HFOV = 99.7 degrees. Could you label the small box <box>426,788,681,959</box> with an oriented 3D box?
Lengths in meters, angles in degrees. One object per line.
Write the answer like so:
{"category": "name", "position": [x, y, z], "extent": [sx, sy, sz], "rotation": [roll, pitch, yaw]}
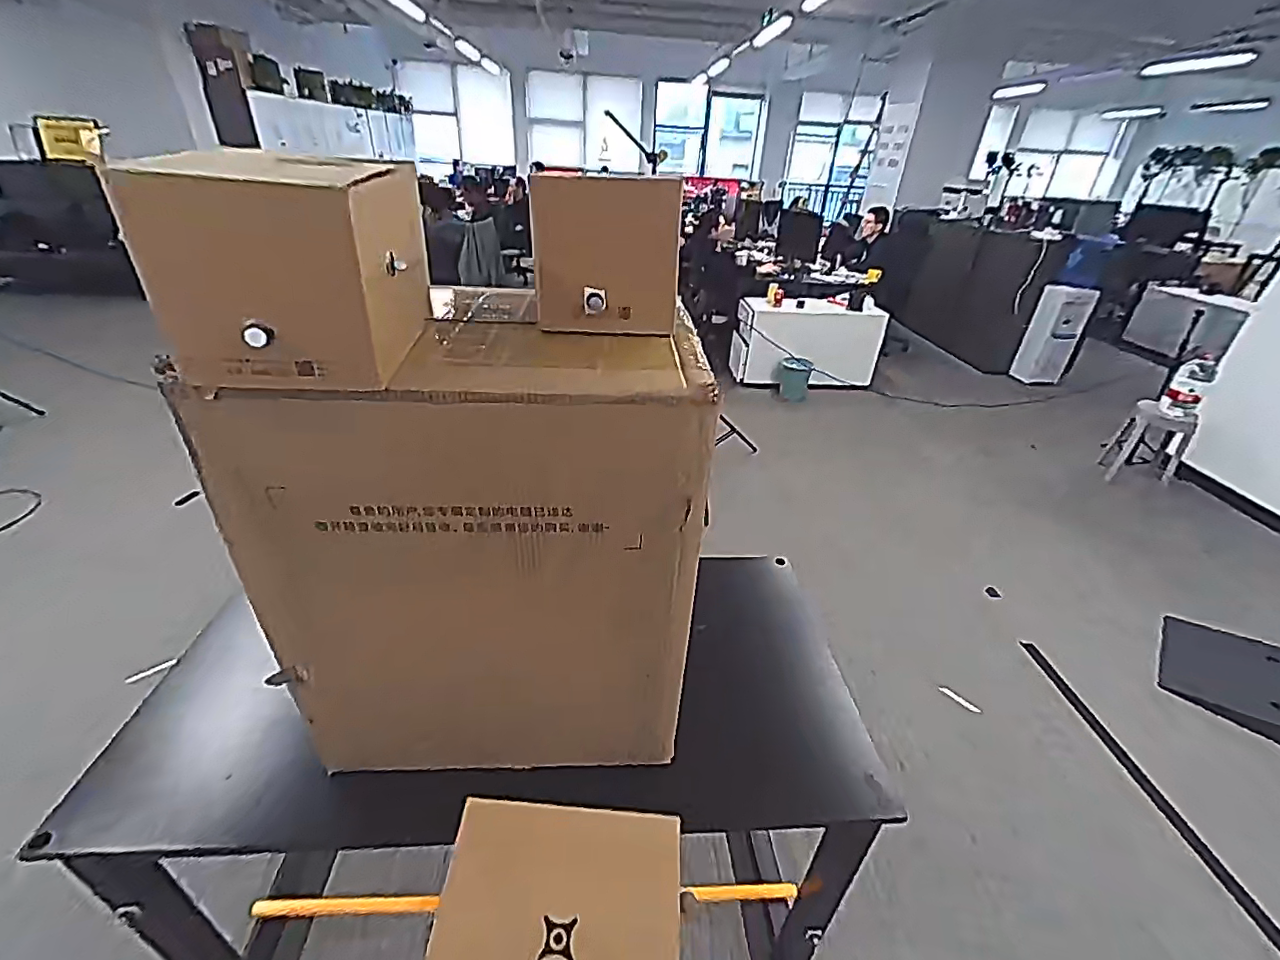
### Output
{"category": "small box", "position": [-0.061, 0.363, 0.406], "extent": [0.168, 0.176, 0.179], "rotation": [5, 41, -1]}

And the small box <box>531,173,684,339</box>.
{"category": "small box", "position": [-0.037, -0.285, 0.679], "extent": [0.168, 0.176, 0.179], "rotation": [0, 30, -1]}
